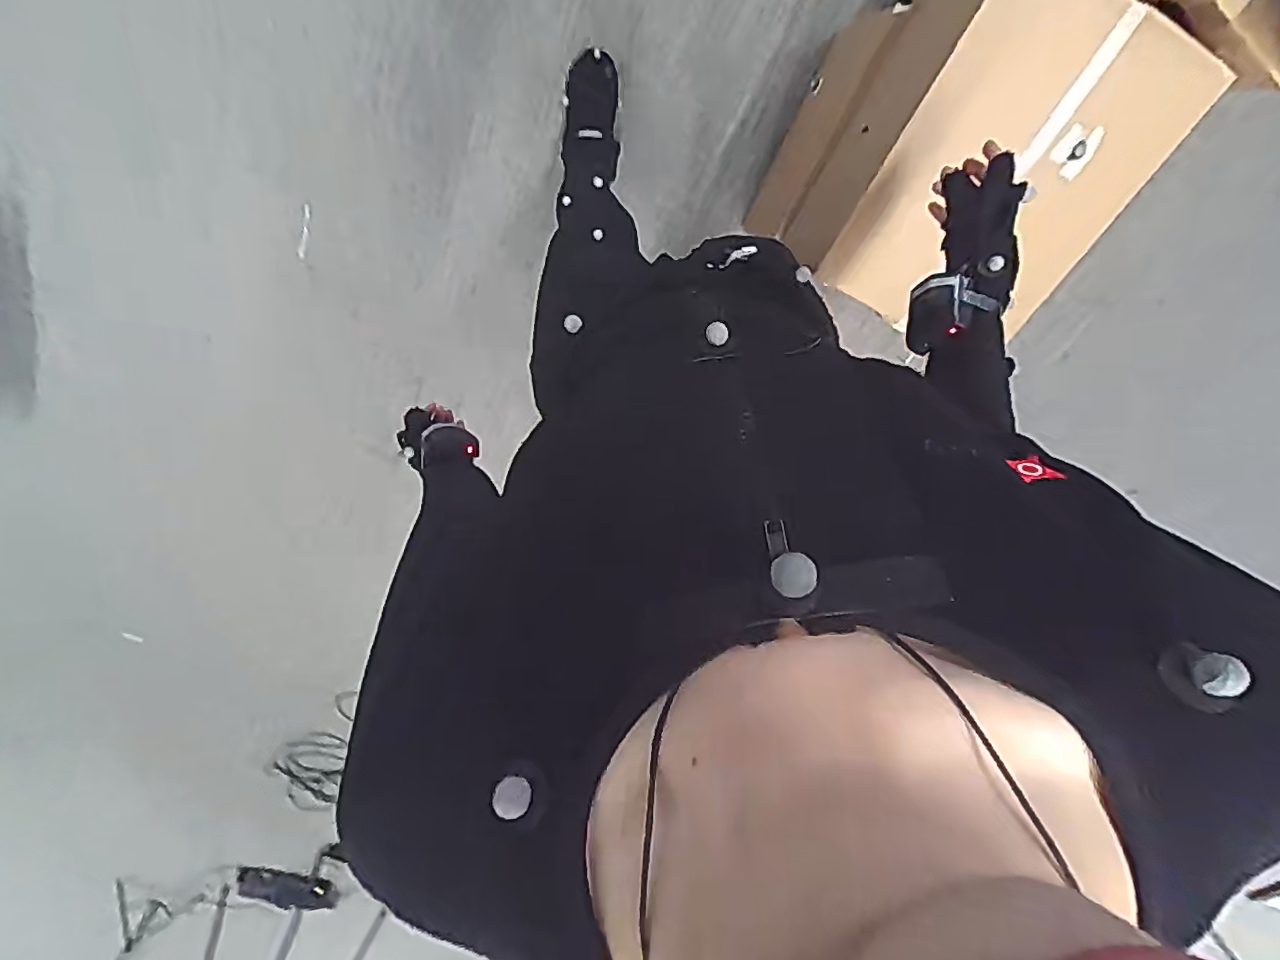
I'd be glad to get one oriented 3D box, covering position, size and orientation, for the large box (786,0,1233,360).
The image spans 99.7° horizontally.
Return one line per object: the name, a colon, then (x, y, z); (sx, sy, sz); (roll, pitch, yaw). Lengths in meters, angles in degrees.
large box: (0.476, -0.460, 0.819); (0.320, 0.320, 0.408); (24, 118, -10)
